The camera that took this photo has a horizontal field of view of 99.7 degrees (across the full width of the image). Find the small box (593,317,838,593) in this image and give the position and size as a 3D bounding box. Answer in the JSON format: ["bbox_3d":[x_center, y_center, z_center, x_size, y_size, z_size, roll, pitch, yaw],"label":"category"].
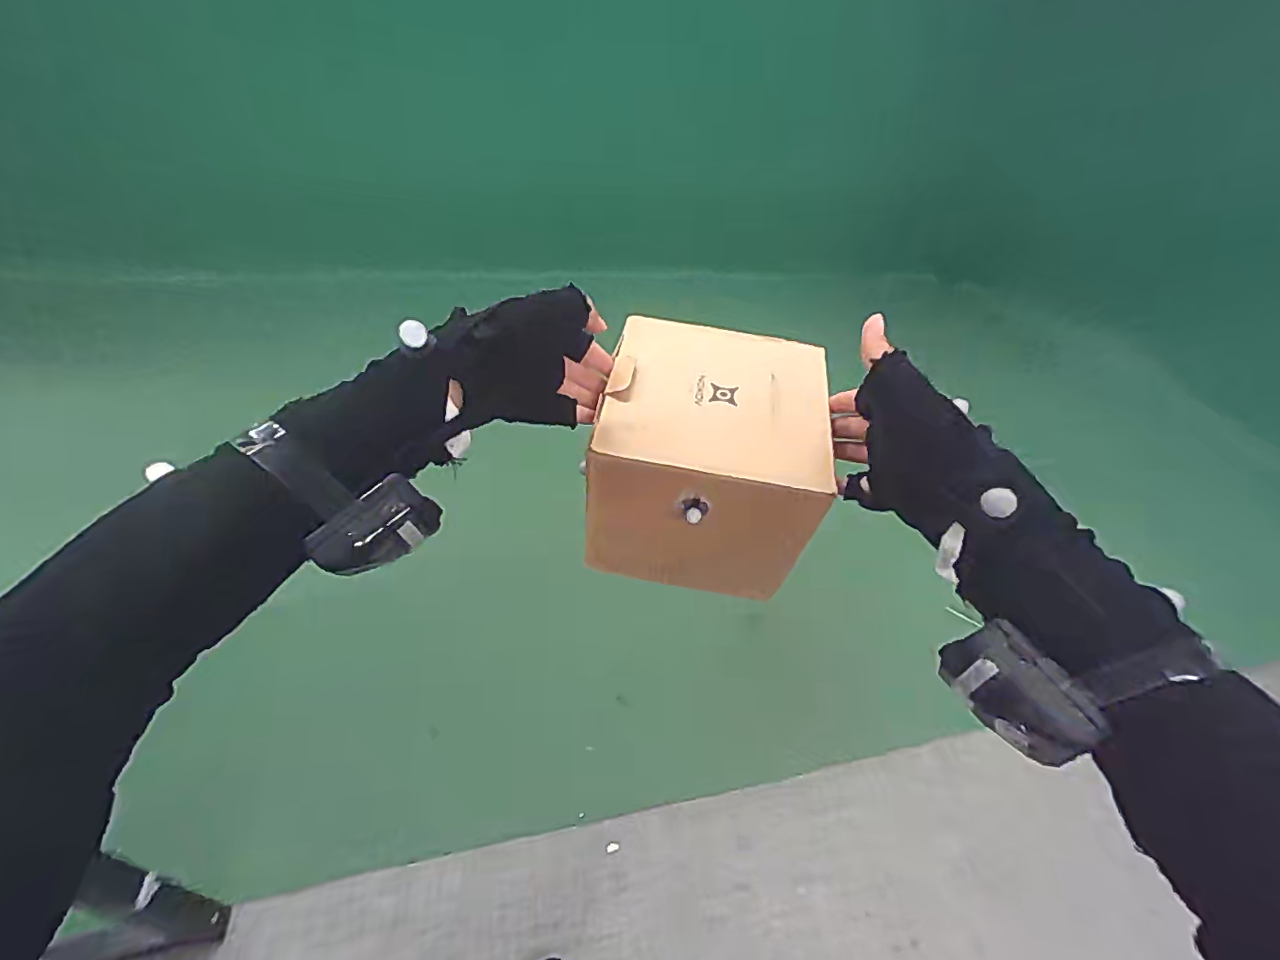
[{"bbox_3d":[0.058,-0.017,0.489,0.179,0.176,0.168,12,51,1],"label":"small box"}]
